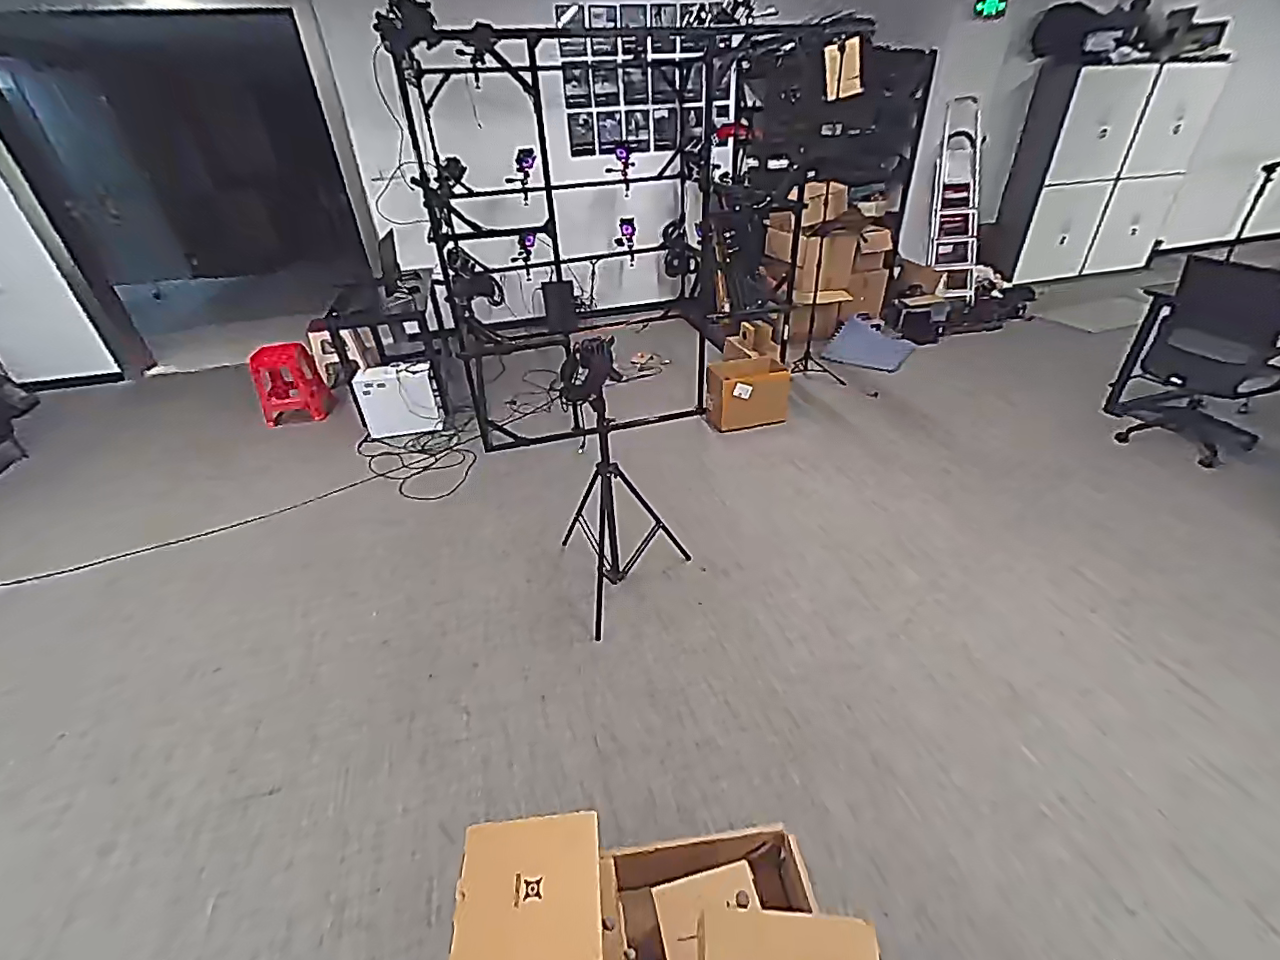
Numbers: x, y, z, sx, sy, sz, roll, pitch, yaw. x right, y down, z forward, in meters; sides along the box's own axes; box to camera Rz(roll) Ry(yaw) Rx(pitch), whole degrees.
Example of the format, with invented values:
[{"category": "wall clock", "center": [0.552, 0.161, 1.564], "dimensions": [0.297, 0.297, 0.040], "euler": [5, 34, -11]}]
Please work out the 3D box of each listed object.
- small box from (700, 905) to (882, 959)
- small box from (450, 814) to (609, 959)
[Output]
[{"category": "small box", "center": [0.151, 0.558, 0.558], "dimensions": [0.179, 0.176, 0.168], "euler": [2, 48, 4]}, {"category": "small box", "center": [-0.131, 0.565, 0.696], "dimensions": [0.179, 0.176, 0.168], "euler": [-5, 33, -5]}]
